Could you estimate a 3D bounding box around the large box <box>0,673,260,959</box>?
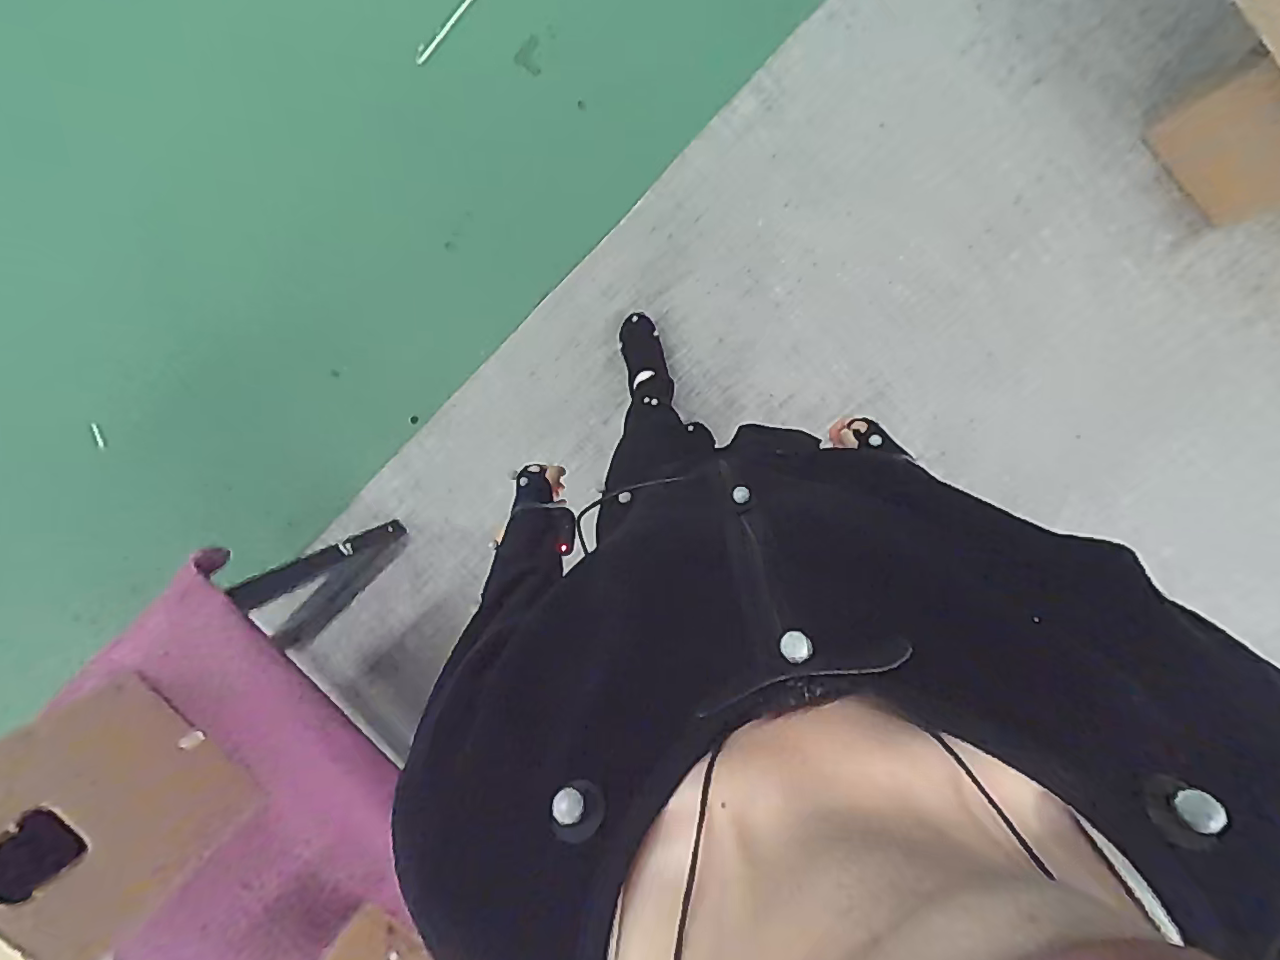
[{"bbox_3d":[-0.884,0.574,0.778,0.408,0.320,0.320,-43,94,8],"label":"large box"}]
